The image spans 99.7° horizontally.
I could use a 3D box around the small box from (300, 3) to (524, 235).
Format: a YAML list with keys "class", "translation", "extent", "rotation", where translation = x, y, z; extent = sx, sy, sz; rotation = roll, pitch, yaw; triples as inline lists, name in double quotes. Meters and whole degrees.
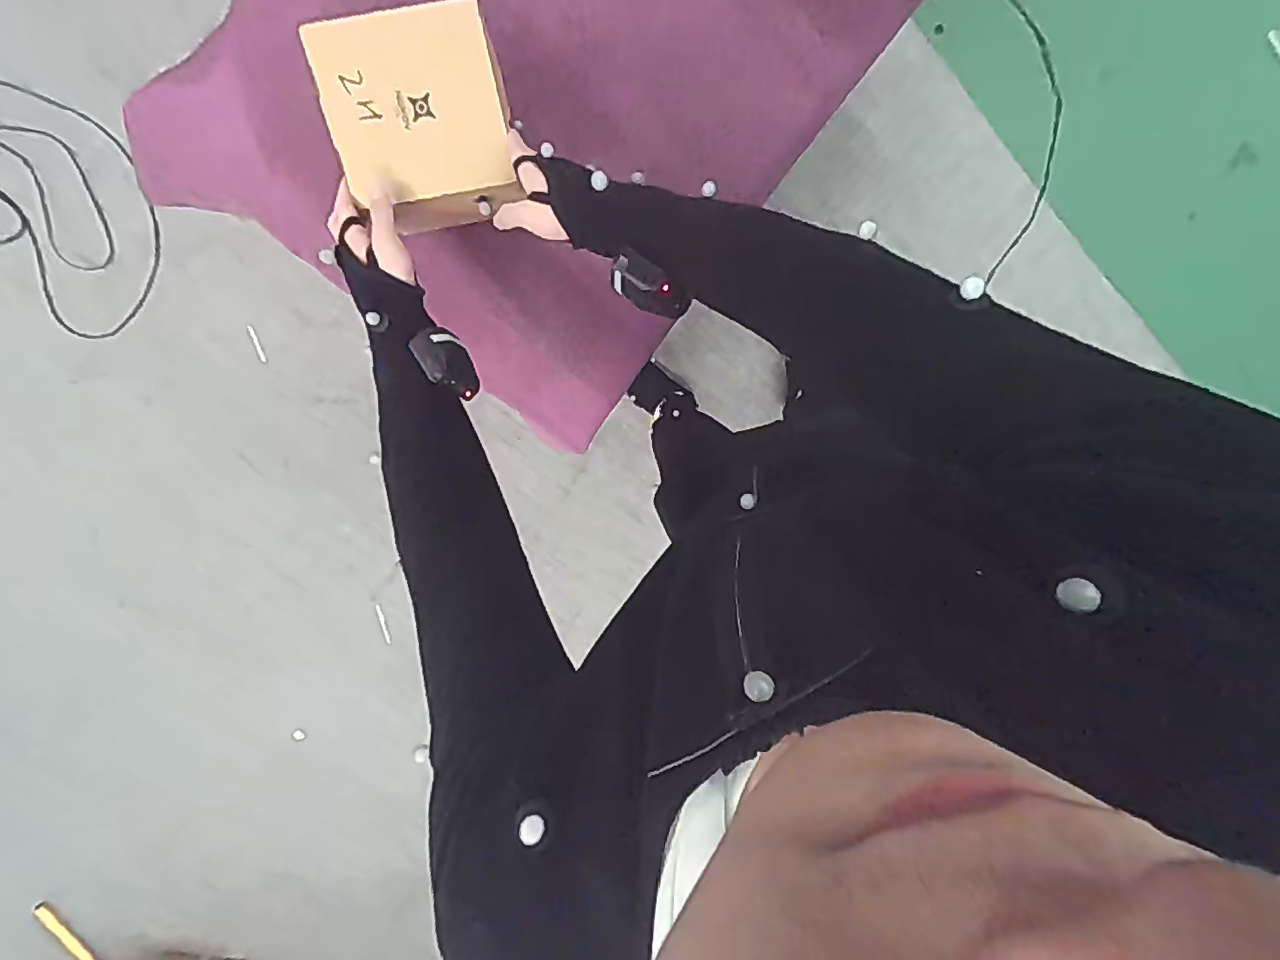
- class: "small box"
  translation: [-0.237, -0.393, 0.619]
  extent: [0.179, 0.176, 0.168]
  rotation: [-12, 107, -3]
